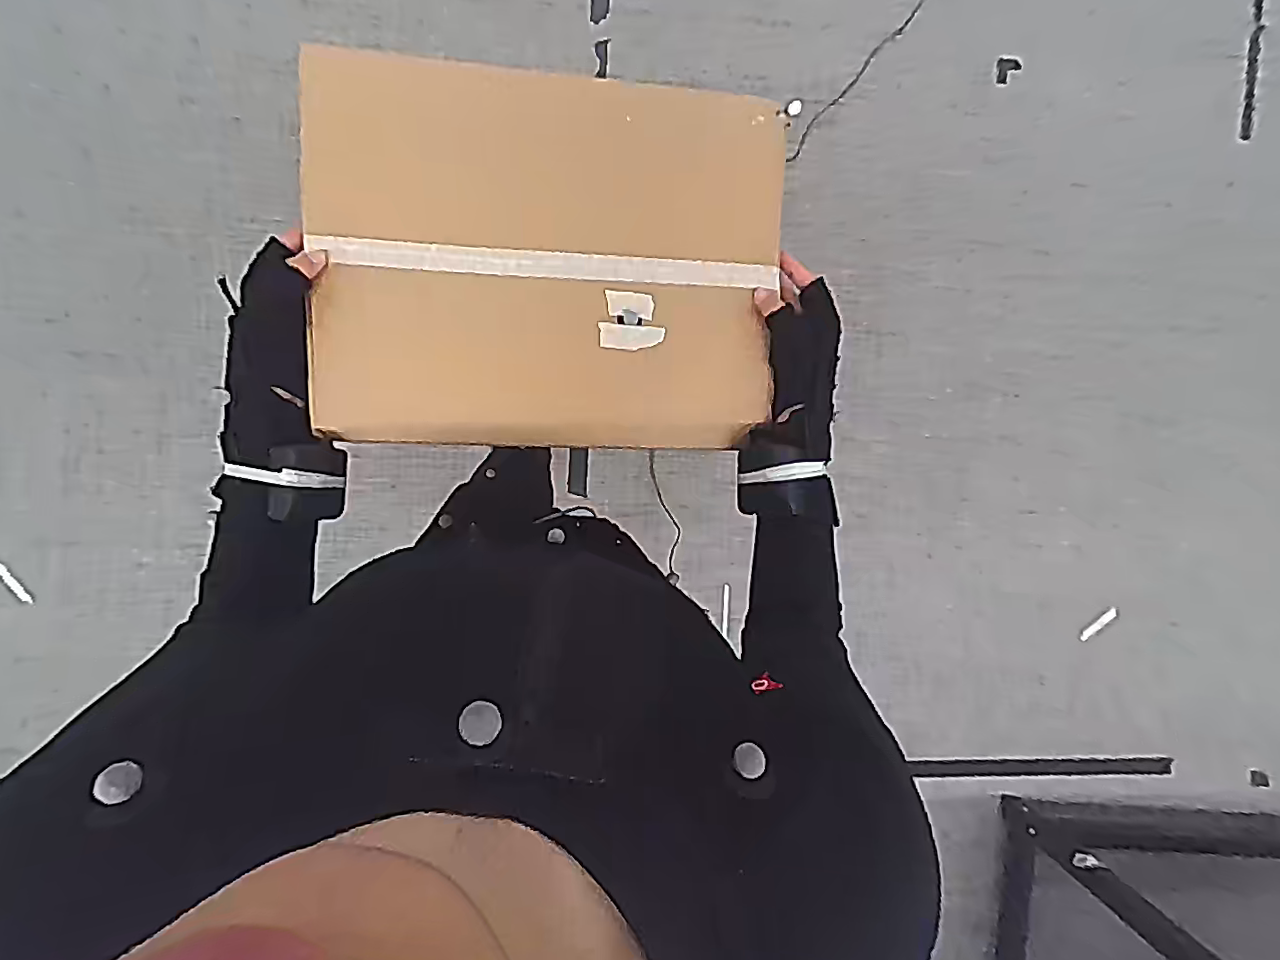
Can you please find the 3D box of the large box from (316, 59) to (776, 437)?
[{"bbox_3d":[-0.094,-0.212,0.632,0.408,0.320,0.320,0,97,-8],"label":"large box"}]
